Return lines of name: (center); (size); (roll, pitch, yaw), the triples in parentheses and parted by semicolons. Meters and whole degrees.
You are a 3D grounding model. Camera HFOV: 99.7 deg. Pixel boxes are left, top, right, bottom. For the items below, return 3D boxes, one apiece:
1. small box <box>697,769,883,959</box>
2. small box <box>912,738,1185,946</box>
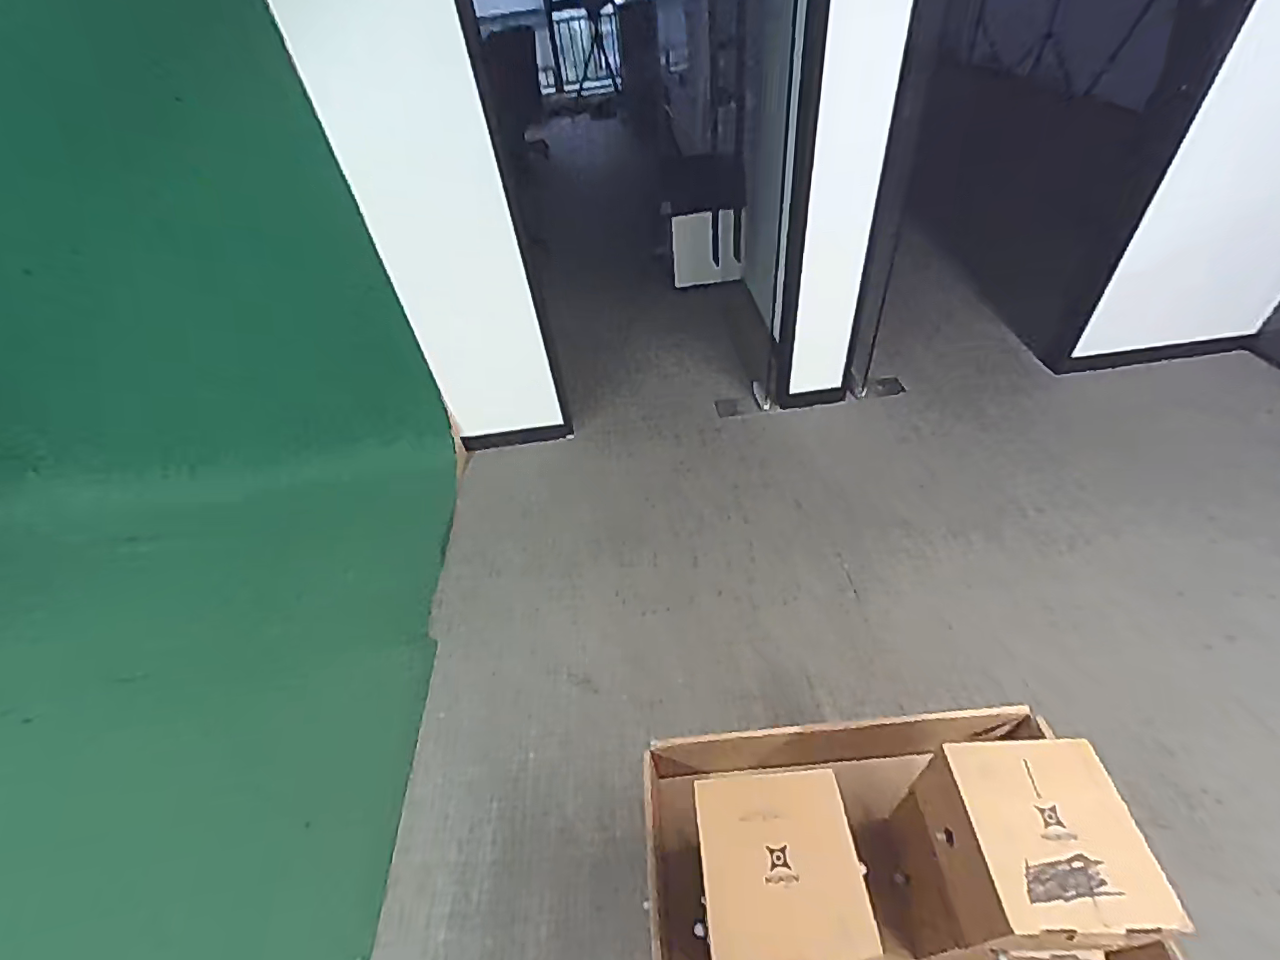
small box: (0.159, 0.463, 0.632); (0.168, 0.176, 0.179); (-5, 44, 3)
small box: (0.445, 0.423, 0.629); (0.168, 0.176, 0.179); (-4, 44, 4)
